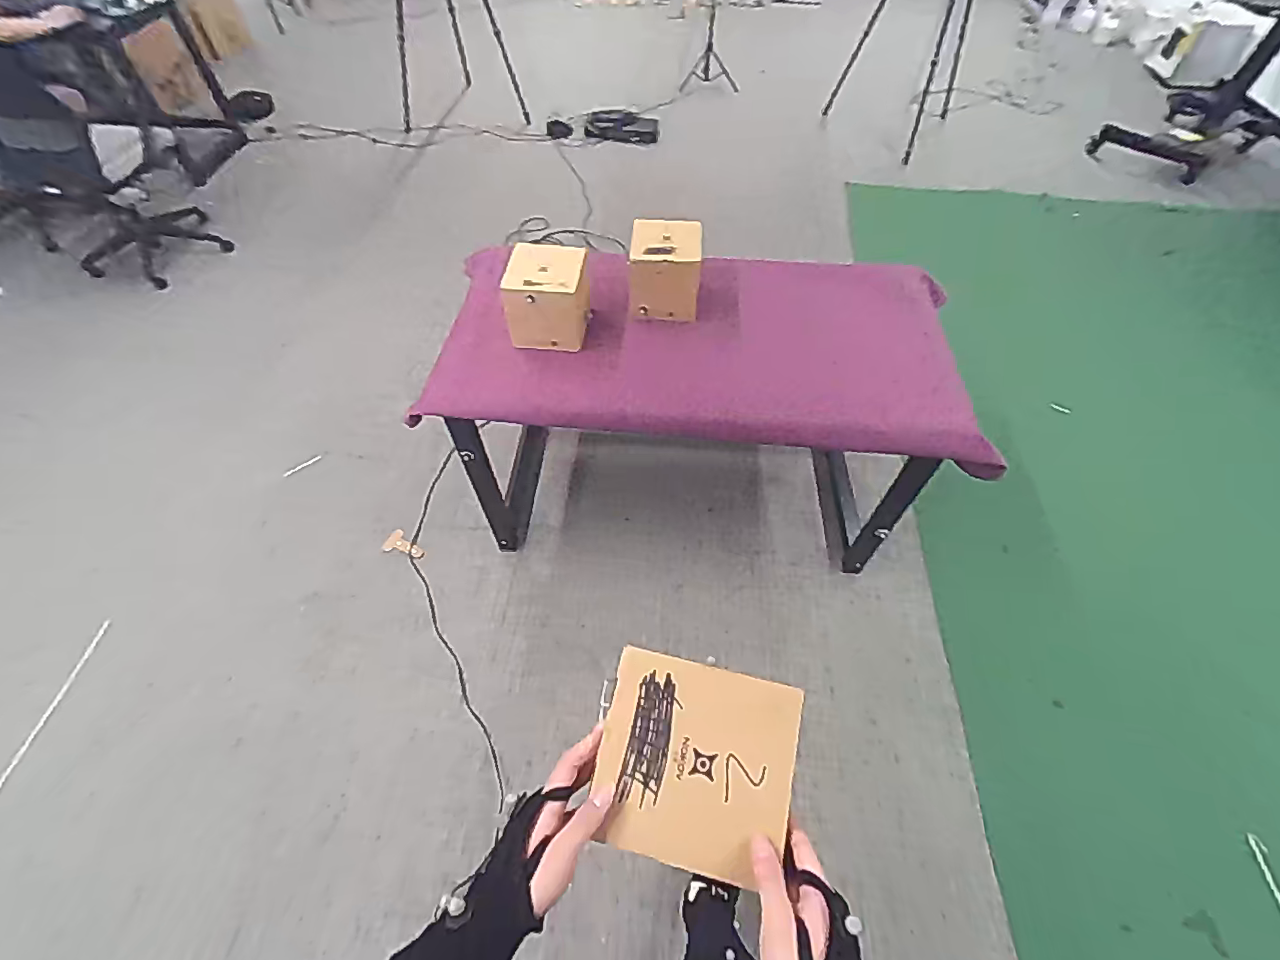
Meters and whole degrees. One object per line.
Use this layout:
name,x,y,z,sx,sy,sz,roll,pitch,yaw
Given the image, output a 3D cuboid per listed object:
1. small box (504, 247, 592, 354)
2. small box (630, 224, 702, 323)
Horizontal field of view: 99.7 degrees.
small box,-0.209,-0.425,1.280,0.168,0.176,0.179,4,54,4
small box,0.066,-0.512,1.349,0.168,0.176,0.179,3,54,2
